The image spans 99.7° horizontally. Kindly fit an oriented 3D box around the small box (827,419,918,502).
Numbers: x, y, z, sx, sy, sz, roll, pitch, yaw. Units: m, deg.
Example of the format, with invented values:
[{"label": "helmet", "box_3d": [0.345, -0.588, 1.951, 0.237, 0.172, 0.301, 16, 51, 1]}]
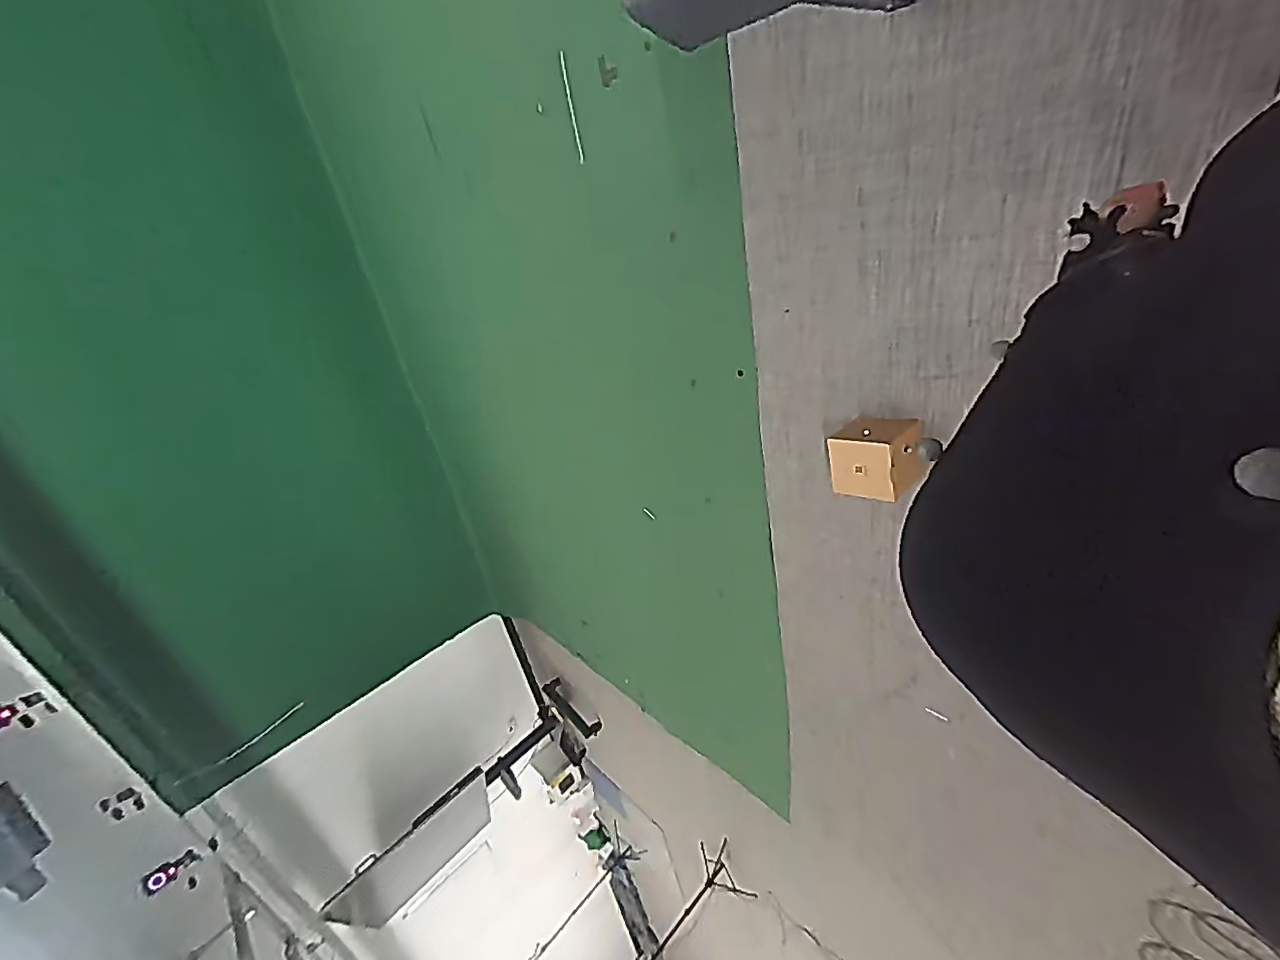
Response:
[{"label": "small box", "box_3d": [0.638, -0.059, 1.469, 0.179, 0.176, 0.168, 12, 123, 49]}]
